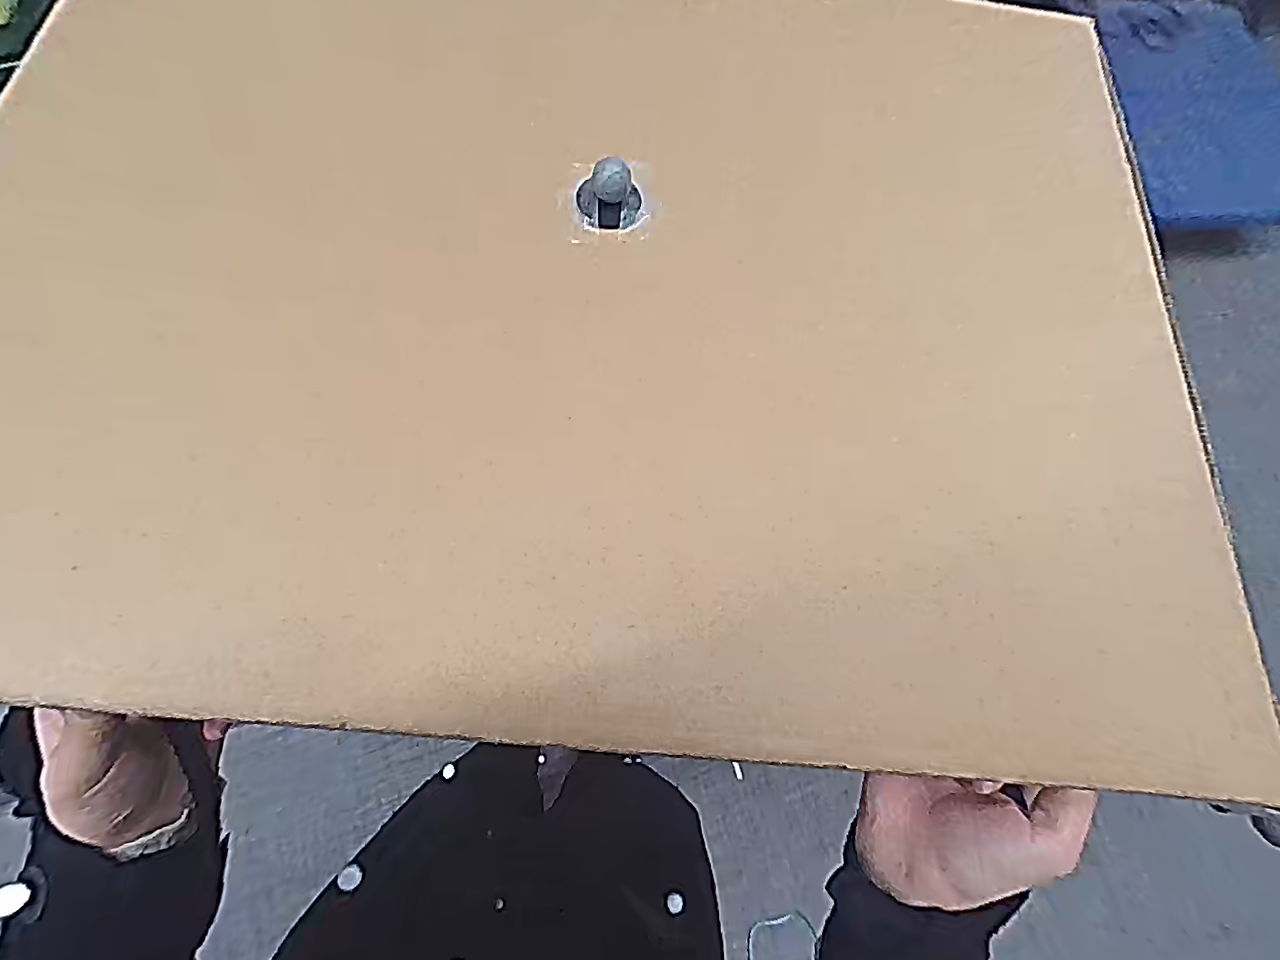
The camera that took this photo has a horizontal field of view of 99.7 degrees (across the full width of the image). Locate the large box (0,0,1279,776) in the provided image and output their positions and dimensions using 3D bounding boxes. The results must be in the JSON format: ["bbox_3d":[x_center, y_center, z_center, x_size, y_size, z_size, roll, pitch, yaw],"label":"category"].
[{"bbox_3d":[-0.018,-0.044,0.322,0.408,0.320,0.320,7,74,-2],"label":"large box"}]
